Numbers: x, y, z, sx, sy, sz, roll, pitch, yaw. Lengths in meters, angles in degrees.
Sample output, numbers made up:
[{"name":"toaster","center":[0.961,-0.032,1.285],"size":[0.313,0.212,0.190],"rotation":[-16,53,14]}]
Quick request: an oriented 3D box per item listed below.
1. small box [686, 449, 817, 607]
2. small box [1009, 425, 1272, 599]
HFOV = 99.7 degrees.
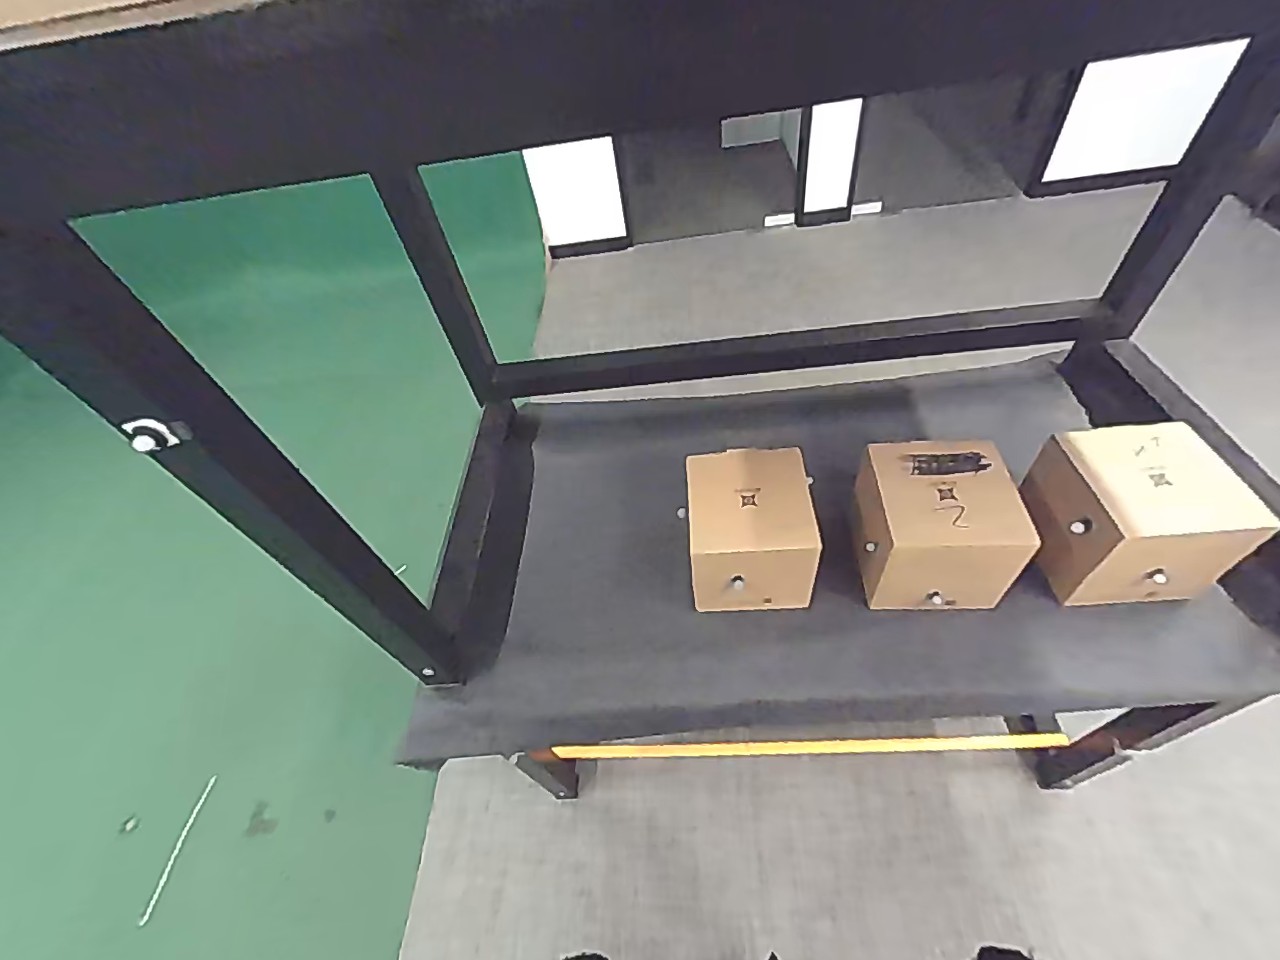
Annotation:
[{"name":"small box","center":[0.159,0.078,0.801],"size":[0.168,0.176,0.179],"rotation":[-4,49,7]},{"name":"small box","center":[0.647,0.051,0.732],"size":[0.168,0.176,0.179],"rotation":[-5,48,6]}]
